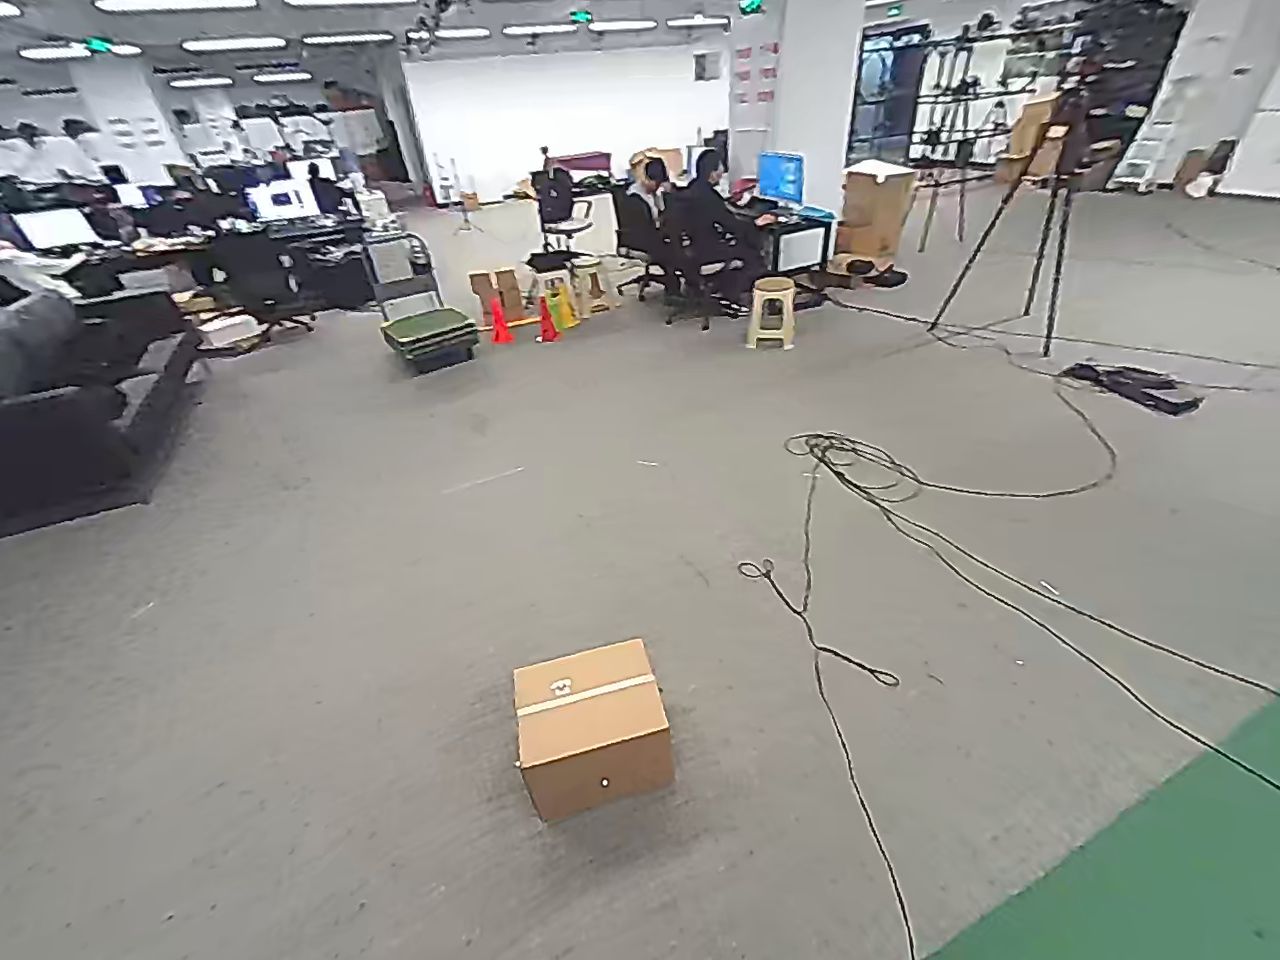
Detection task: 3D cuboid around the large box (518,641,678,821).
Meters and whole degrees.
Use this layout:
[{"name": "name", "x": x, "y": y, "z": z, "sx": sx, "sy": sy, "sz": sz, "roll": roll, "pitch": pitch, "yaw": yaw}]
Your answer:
[{"name": "large box", "x": -0.125, "y": 0.750, "z": 1.630, "sx": 0.408, "sy": 0.320, "sz": 0.320, "roll": -13, "pitch": 35, "yaw": -8}]
